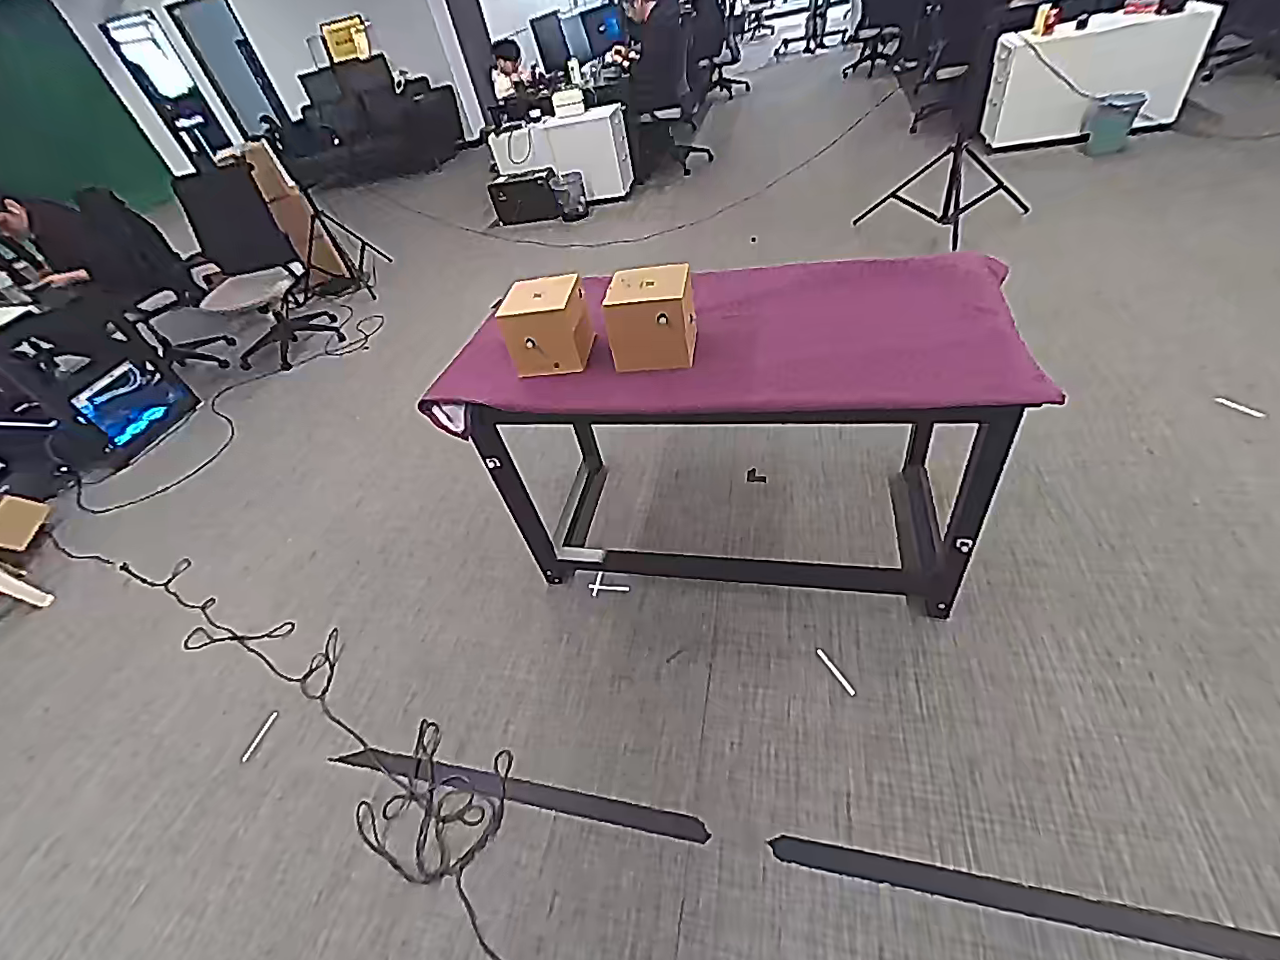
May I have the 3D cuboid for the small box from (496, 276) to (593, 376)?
[{"bbox_3d":[-0.219,-0.362,1.298,0.168,0.176,0.179,-4,44,11],"label":"small box"}]

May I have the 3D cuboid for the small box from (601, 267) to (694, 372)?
[{"bbox_3d":[0.027,-0.361,1.227,0.179,0.176,0.168,-1,43,13],"label":"small box"}]
